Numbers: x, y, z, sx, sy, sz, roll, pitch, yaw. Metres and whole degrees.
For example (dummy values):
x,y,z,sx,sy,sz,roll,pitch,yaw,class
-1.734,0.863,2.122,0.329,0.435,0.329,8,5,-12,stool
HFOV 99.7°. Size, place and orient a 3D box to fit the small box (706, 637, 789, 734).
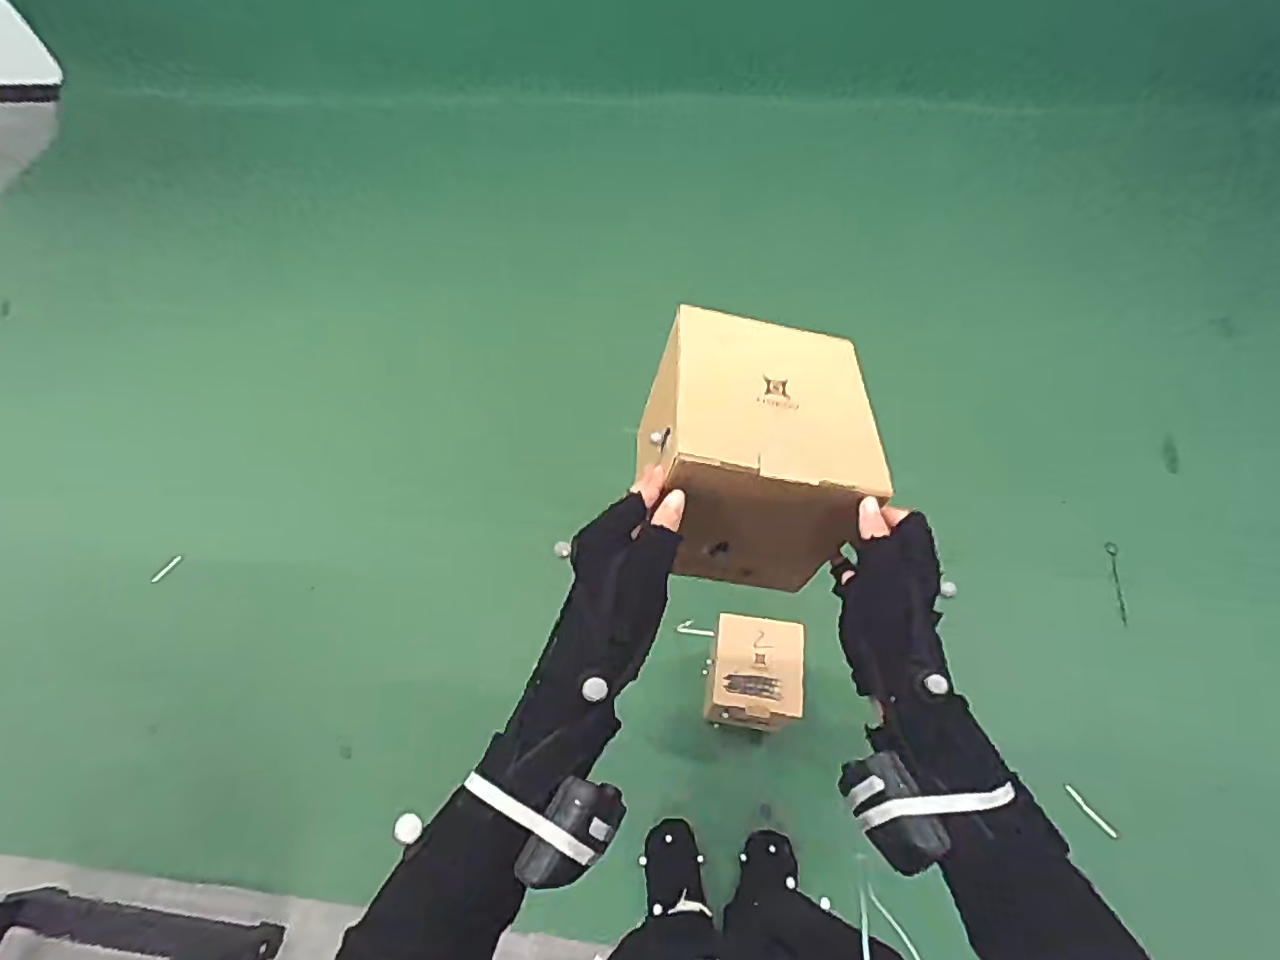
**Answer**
x,y,z,sx,sy,sz,roll,pitch,yaw,class
0.244,0.480,1.251,0.168,0.176,0.179,7,61,7,small box
